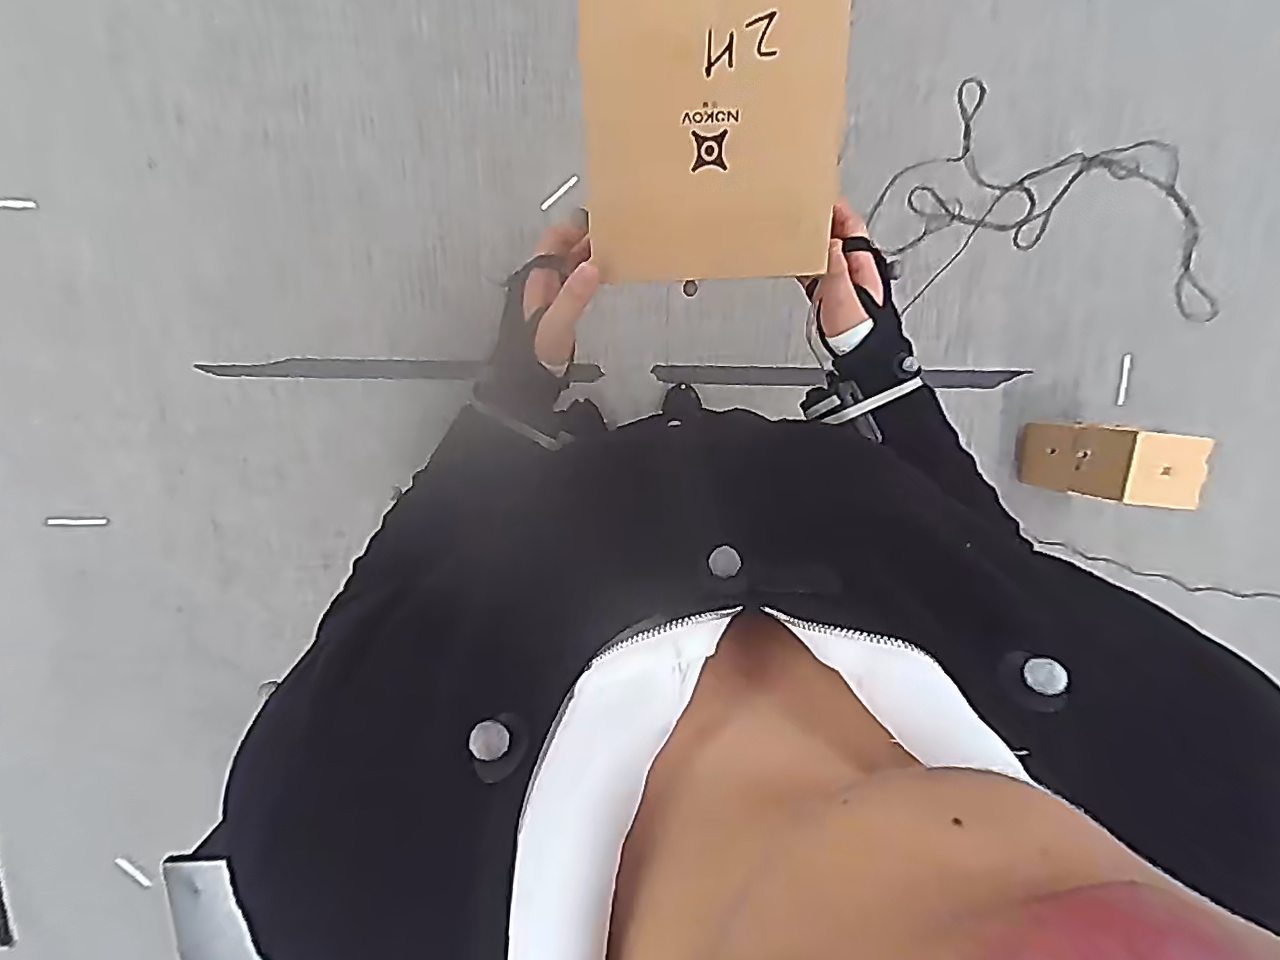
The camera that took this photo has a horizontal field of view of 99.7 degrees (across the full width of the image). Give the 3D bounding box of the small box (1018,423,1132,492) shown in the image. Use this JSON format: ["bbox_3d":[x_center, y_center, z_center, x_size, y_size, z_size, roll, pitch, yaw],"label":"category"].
[{"bbox_3d":[1.154,-0.064,1.447,0.168,0.176,0.179,0,98,-2],"label":"small box"}]

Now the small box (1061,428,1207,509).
[{"bbox_3d":[1.162,-0.034,1.286,0.179,0.176,0.168,5,98,-2],"label":"small box"}]

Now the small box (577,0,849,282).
[{"bbox_3d":[0.045,-0.253,0.423,0.168,0.176,0.179,-2,111,0],"label":"small box"}]
